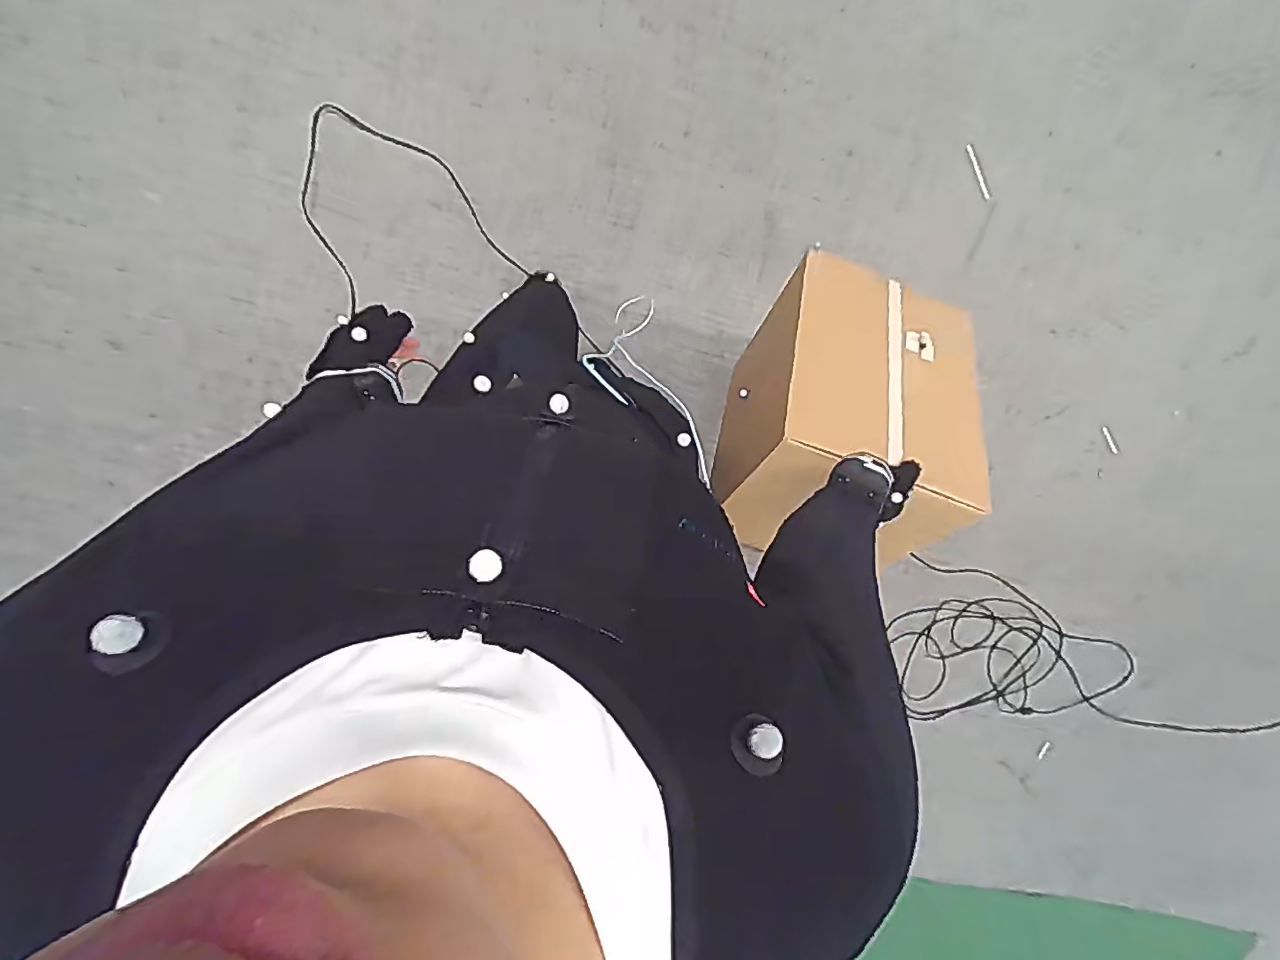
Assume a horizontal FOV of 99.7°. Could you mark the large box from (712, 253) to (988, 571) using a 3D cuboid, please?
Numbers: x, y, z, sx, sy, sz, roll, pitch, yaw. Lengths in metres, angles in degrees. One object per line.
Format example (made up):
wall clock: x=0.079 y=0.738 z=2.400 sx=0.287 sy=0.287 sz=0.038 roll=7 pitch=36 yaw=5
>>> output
large box: x=0.348 y=-0.104 z=0.956 sx=0.320 sy=0.320 sz=0.408 roll=20 pitch=60 yaw=-6
